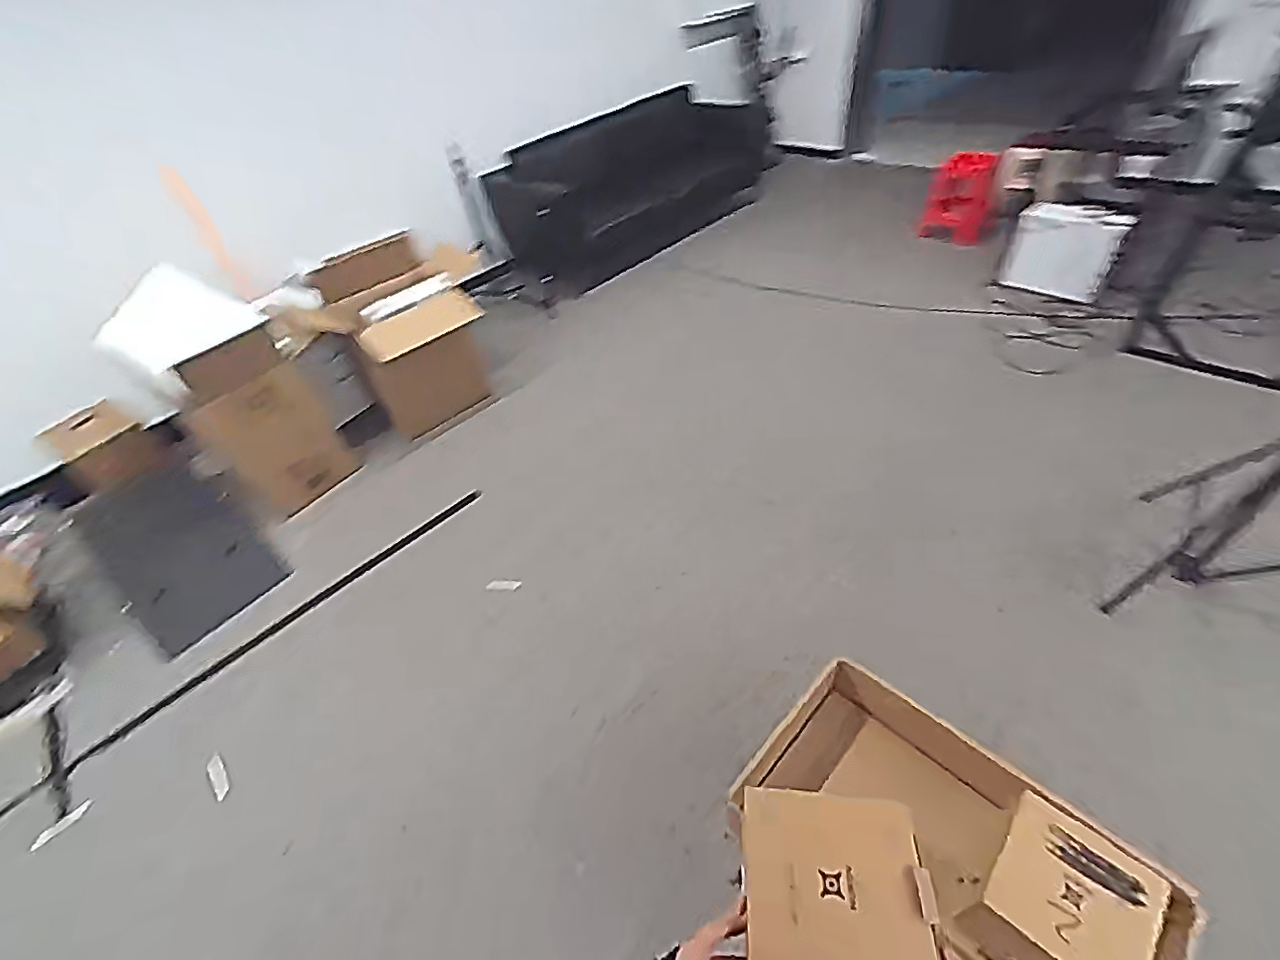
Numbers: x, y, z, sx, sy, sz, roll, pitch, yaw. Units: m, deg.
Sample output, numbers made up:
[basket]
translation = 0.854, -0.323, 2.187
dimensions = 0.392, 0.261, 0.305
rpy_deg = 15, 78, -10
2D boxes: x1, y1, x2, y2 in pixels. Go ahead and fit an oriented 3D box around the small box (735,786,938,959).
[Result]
[small box]
translation = 0.196, 0.455, 0.588
dimensions = 0.179, 0.176, 0.168
rpy_deg = 0, 45, 8
